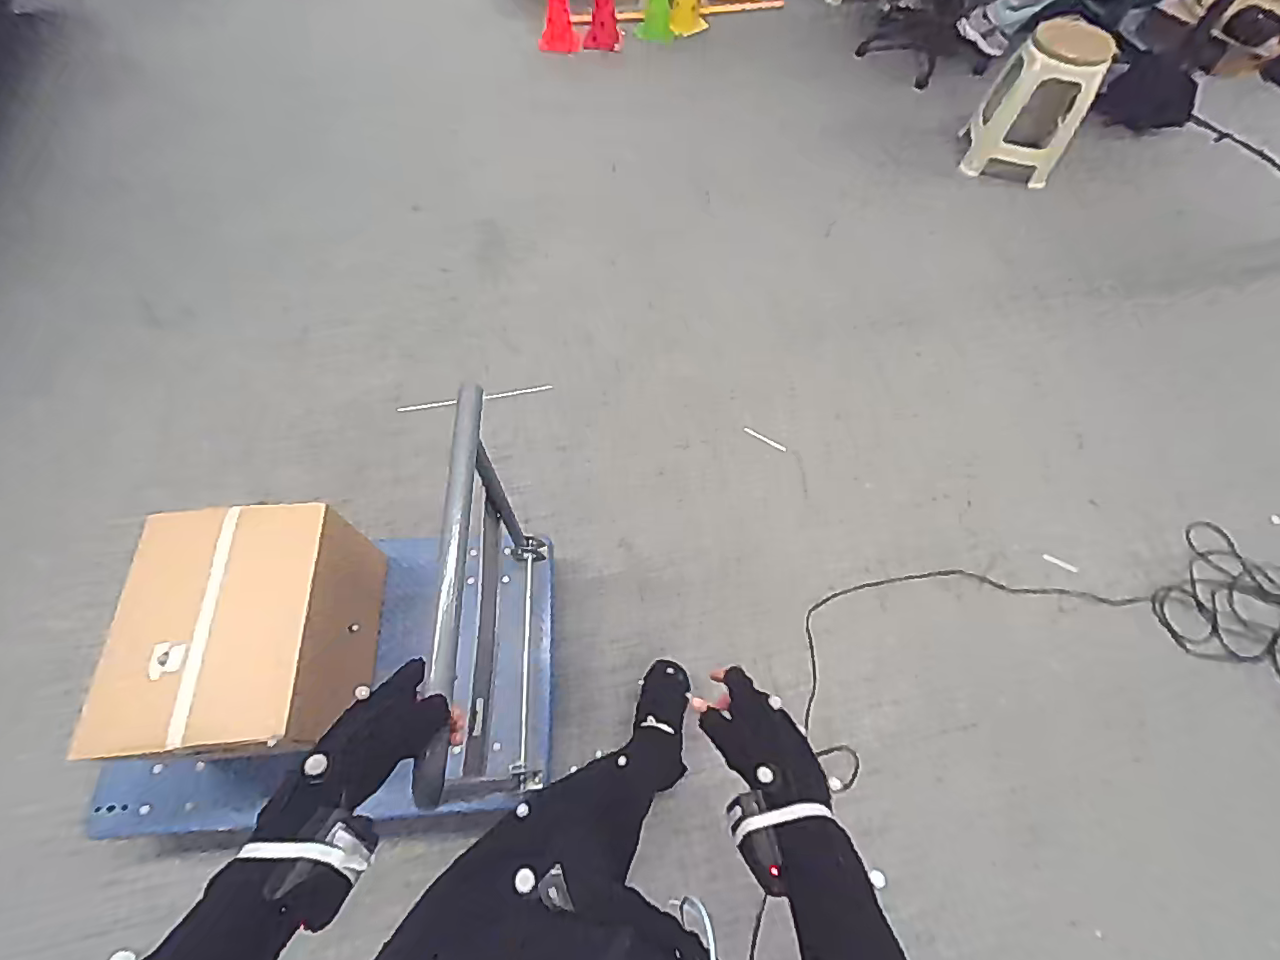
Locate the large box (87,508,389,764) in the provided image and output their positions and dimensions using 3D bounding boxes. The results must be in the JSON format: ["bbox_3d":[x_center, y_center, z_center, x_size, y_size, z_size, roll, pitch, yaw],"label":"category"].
[{"bbox_3d":[-0.709,0.305,1.043,0.320,0.320,0.408,-4,63,-5],"label":"large box"}]
